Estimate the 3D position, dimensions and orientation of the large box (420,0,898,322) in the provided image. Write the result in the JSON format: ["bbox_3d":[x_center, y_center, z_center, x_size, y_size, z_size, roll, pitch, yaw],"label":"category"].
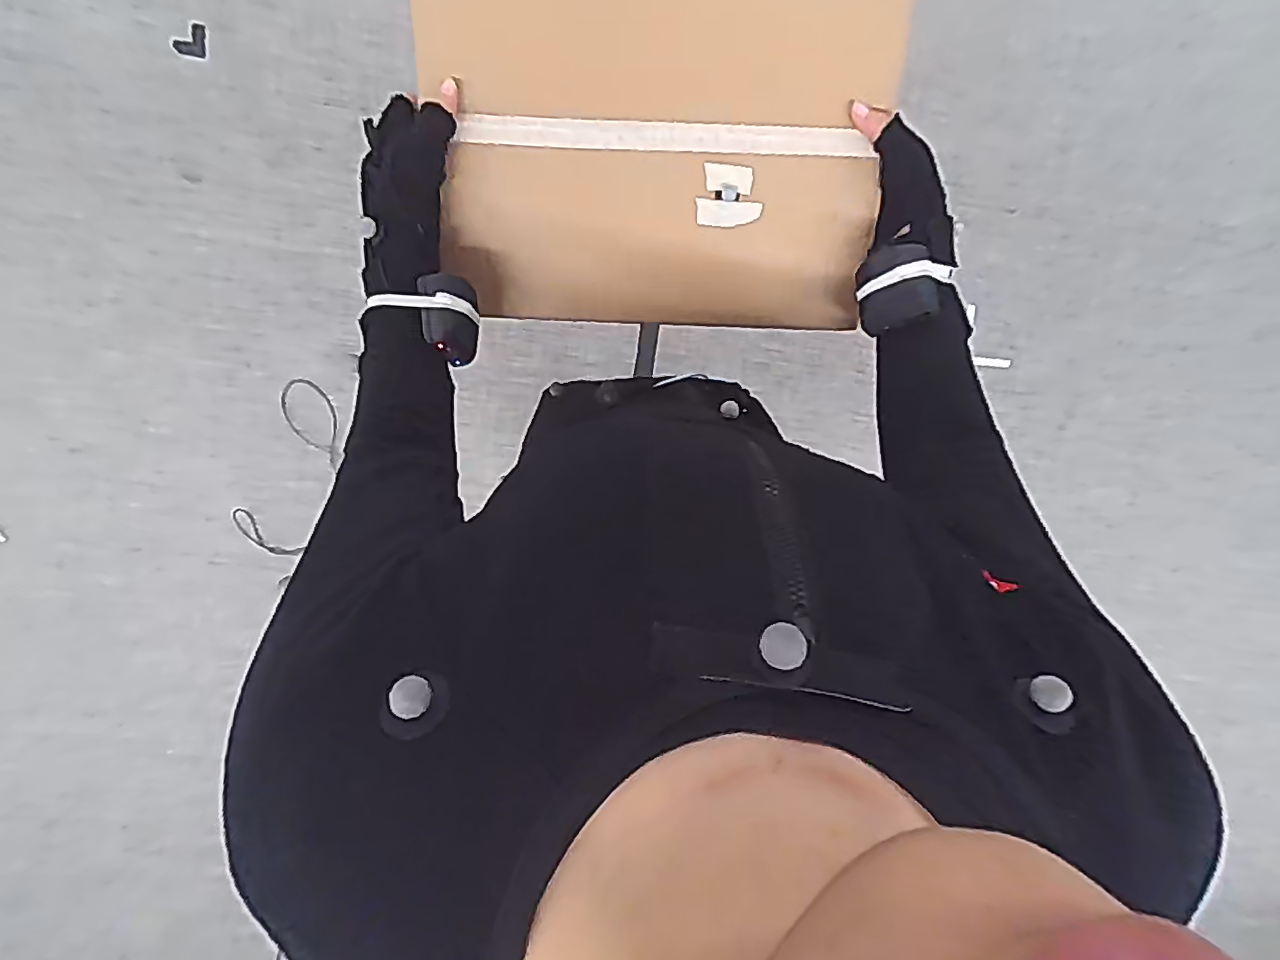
[{"bbox_3d":[0.010,-0.358,0.621,0.408,0.320,0.320,2,112,-2],"label":"large box"}]
